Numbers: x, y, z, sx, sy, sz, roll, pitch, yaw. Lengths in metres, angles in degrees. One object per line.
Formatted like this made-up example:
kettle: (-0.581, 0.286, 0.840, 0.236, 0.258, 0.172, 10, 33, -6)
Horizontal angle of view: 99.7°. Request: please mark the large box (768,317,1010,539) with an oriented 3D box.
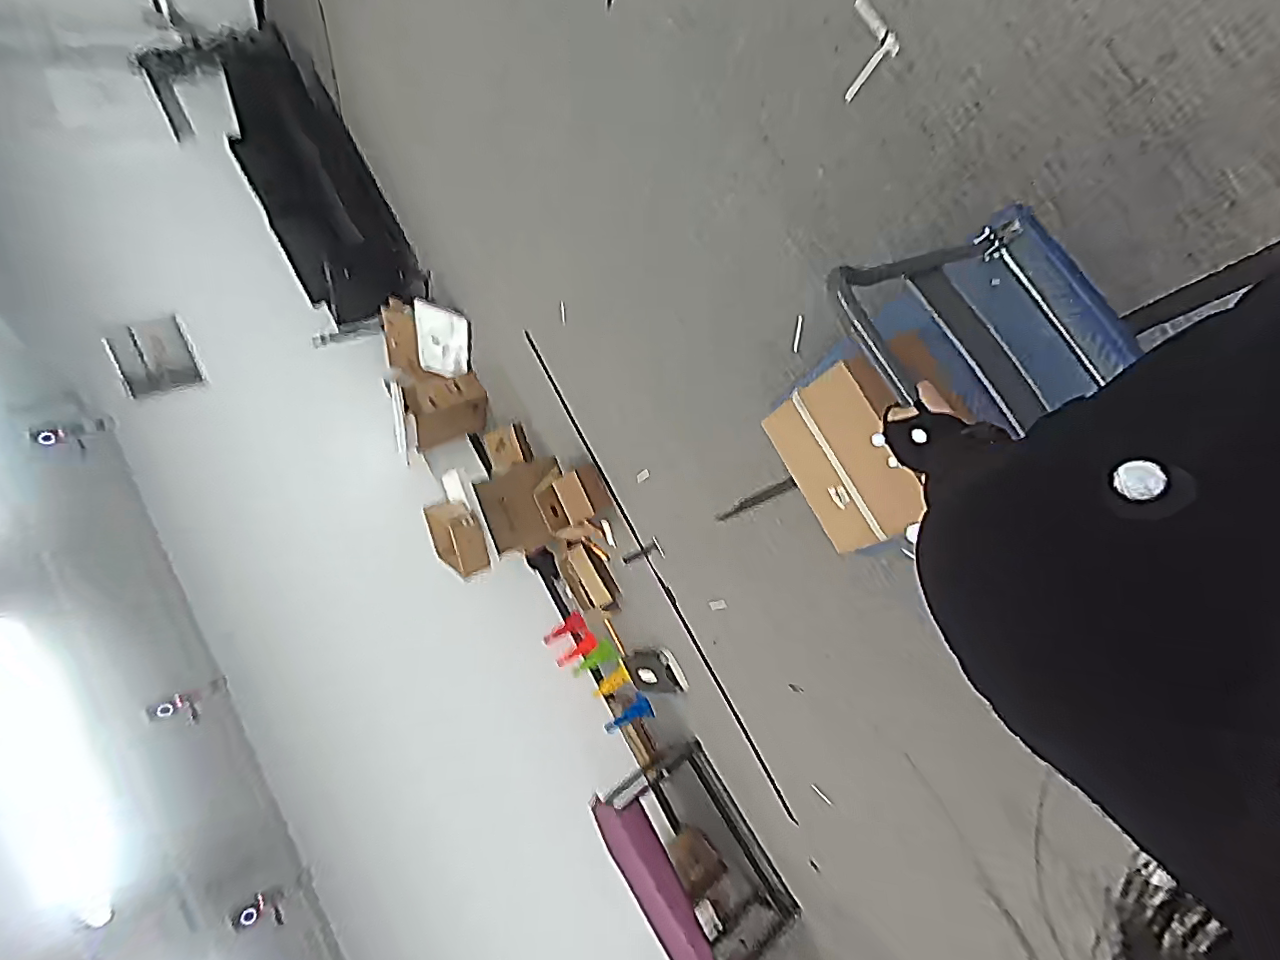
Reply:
large box: (0.608, -0.127, 1.348, 0.408, 0.320, 0.320, 60, 150, 6)
